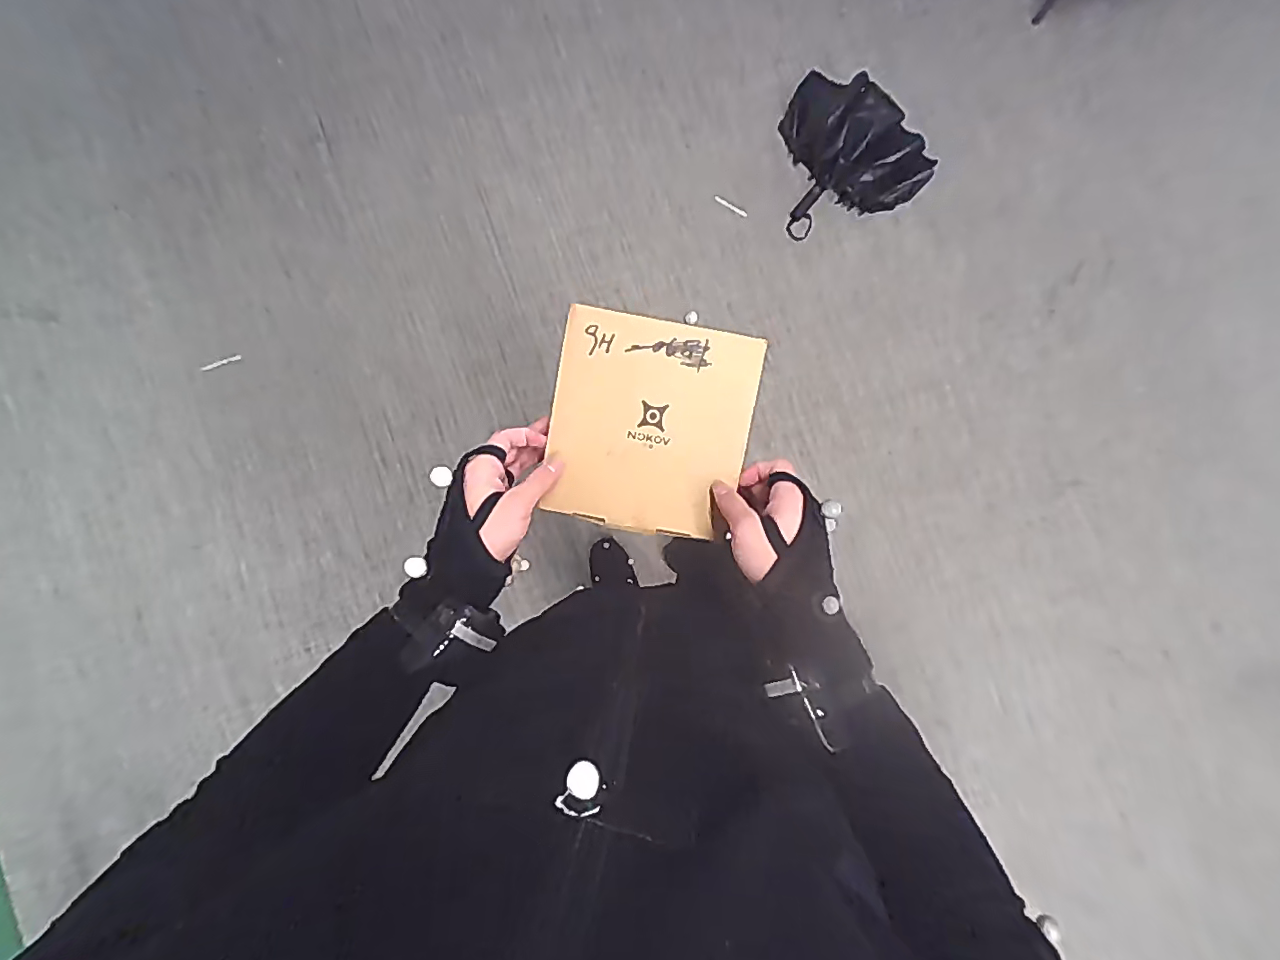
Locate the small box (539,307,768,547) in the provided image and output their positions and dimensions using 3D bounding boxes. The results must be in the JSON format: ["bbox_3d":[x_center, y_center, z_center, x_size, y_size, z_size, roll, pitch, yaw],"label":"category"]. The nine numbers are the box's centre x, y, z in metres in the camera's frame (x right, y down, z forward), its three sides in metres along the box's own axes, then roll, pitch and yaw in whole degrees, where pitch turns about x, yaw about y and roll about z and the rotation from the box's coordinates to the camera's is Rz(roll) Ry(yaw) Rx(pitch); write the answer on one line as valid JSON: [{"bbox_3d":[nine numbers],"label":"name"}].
[{"bbox_3d":[0.009,-0.052,0.528,0.168,0.176,0.179,11,98,-2],"label":"small box"}]
